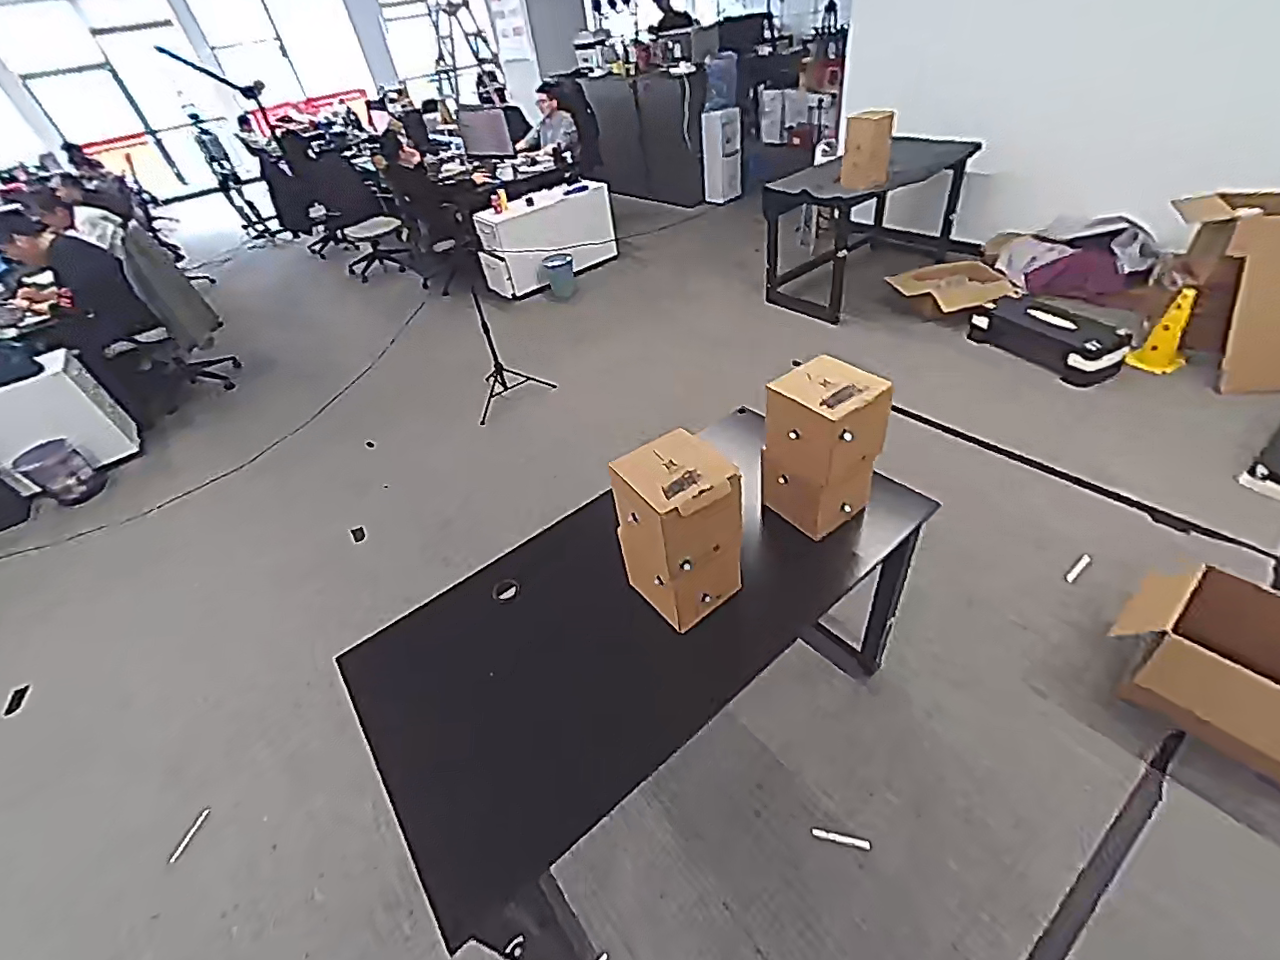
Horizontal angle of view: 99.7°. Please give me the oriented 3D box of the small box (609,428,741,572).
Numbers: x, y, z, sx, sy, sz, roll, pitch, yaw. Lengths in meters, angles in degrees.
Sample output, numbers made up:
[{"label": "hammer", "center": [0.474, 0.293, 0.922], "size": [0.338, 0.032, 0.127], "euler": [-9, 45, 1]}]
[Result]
[{"label": "small box", "center": [0.068, 0.041, 0.971], "size": [0.168, 0.176, 0.179], "euler": [-27, 43, -19]}]

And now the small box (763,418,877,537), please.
[{"label": "small box", "center": [0.392, -0.006, 1.203], "size": [0.168, 0.176, 0.179], "euler": [-29, 44, -19]}]

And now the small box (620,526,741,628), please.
[{"label": "small box", "center": [0.083, 0.160, 1.084], "size": [0.168, 0.176, 0.179], "euler": [-32, 45, -23]}]
